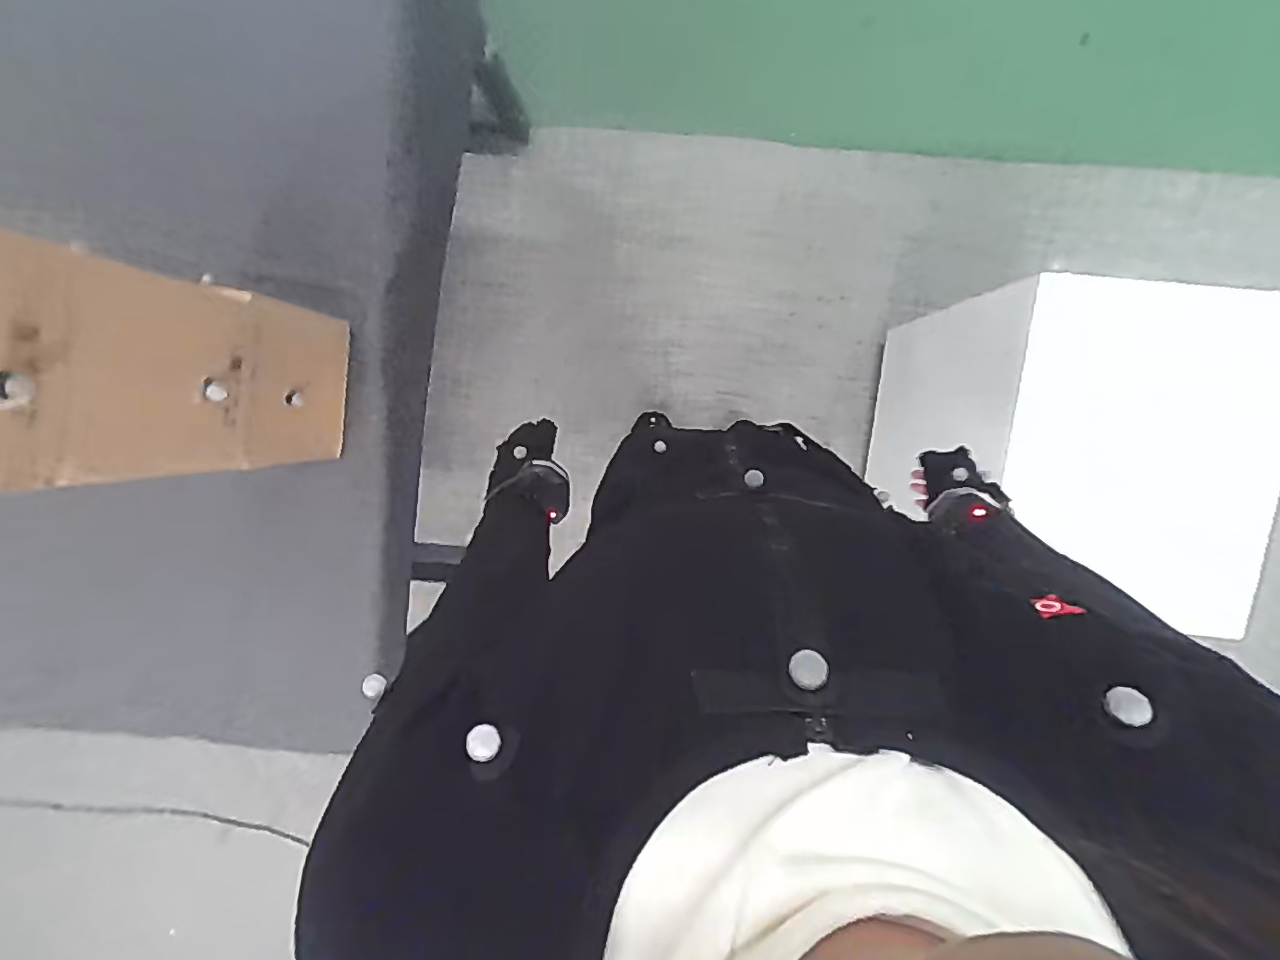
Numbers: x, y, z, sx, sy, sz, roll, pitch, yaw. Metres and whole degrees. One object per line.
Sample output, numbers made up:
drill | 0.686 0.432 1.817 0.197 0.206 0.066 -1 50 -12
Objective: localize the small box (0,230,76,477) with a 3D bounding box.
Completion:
small box | -0.491 -0.083 0.304 0.179 0.176 0.168 10 99 2

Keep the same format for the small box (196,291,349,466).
small box | -0.466 -0.121 0.628 0.168 0.176 0.179 8 98 3

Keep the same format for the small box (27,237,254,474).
small box | -0.482 -0.104 0.465 0.179 0.176 0.168 8 97 5
